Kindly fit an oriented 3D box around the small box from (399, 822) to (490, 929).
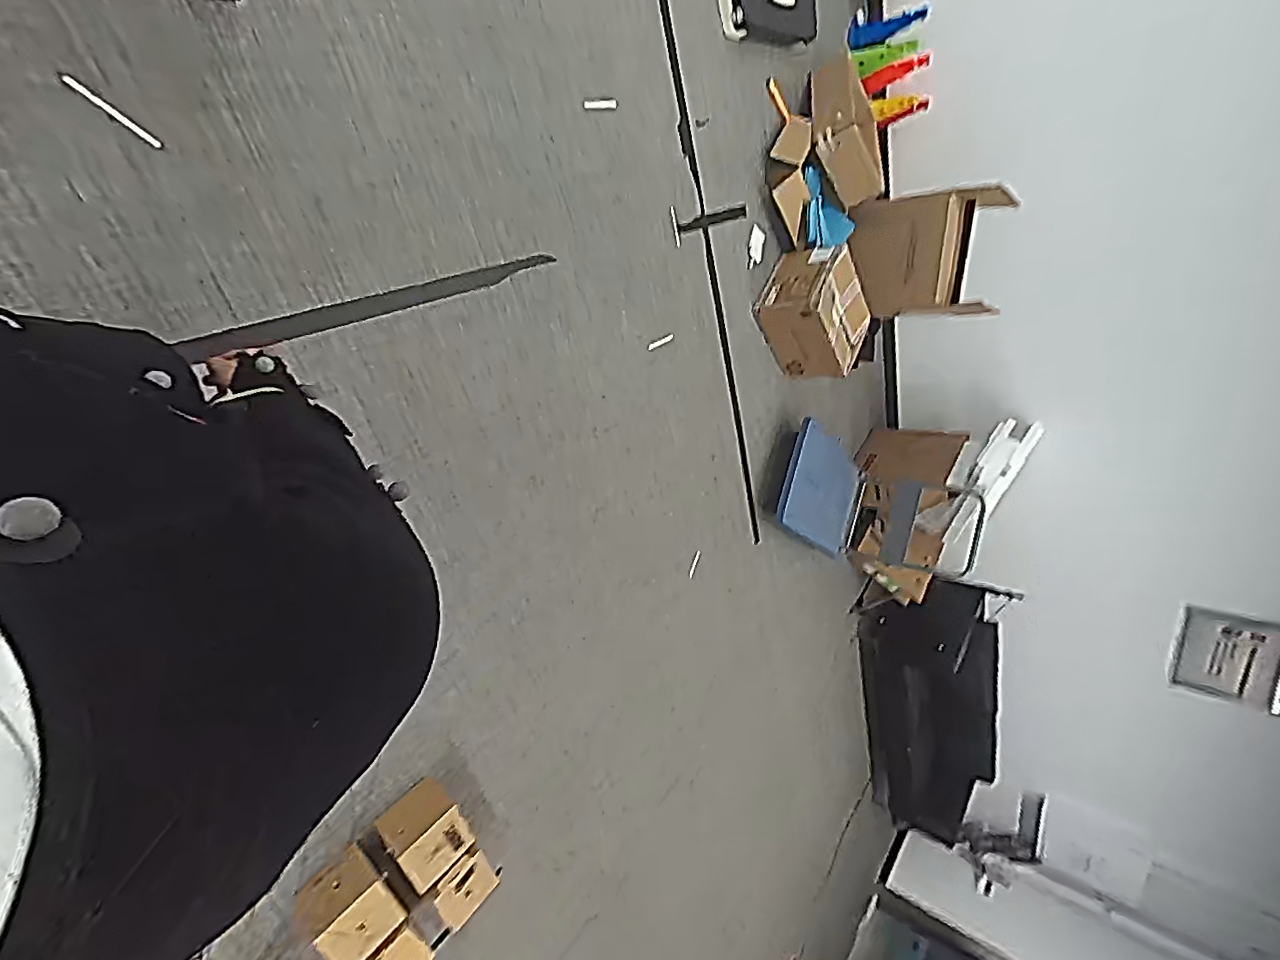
[{"bbox_3d":[-0.588,1.173,1.621,0.168,0.176,0.179,-37,125,-38],"label":"small box"}]
